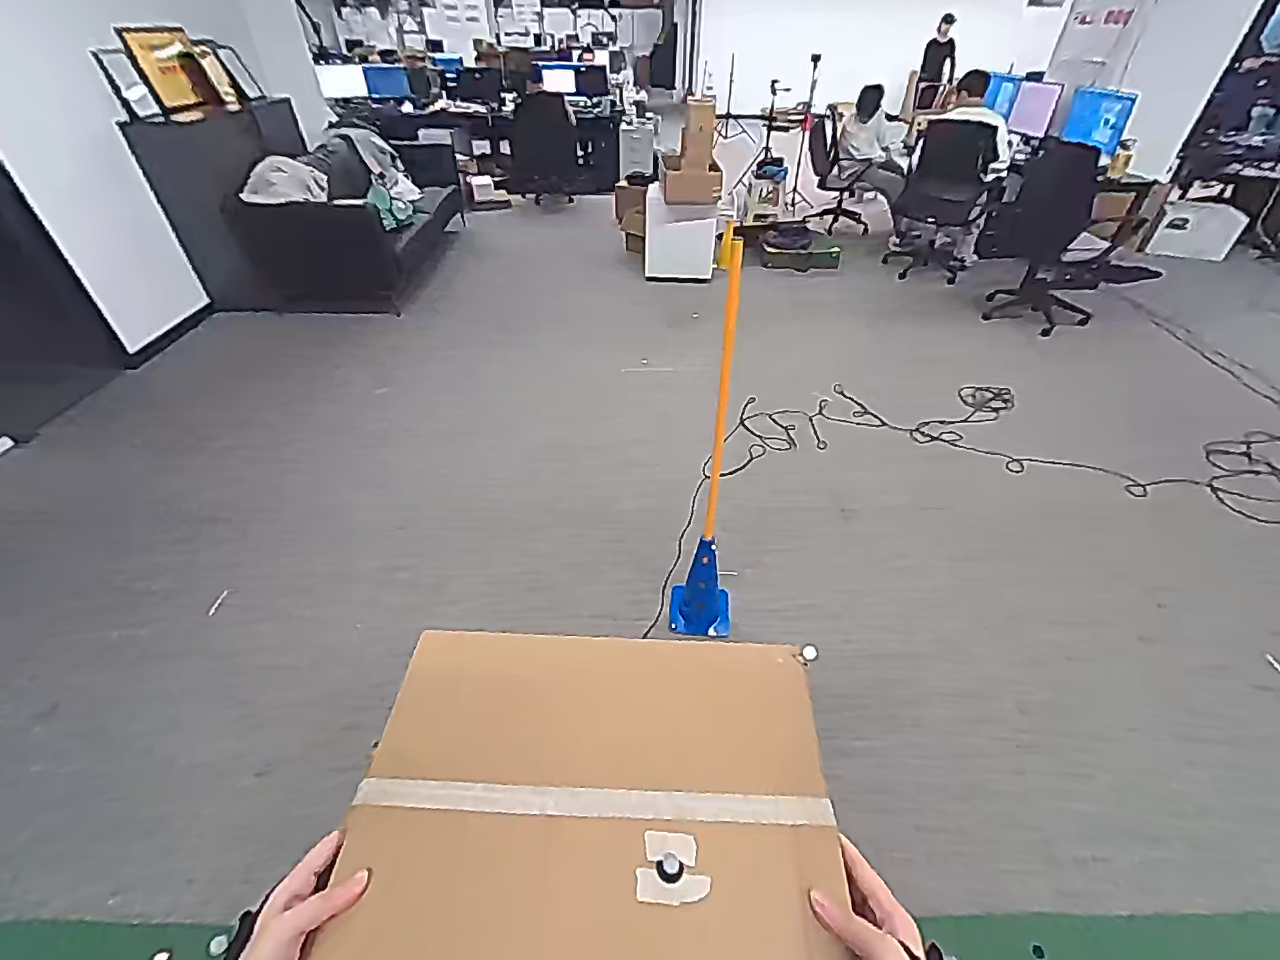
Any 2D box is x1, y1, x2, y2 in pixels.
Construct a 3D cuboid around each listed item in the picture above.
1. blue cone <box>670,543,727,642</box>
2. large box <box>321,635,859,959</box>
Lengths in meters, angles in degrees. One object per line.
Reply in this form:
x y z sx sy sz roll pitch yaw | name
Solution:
0.200 0.334 1.733 0.193 0.380 0.192 5 40 6 | blue cone
-0.036 0.388 0.576 0.408 0.320 0.320 2 44 1 | large box
